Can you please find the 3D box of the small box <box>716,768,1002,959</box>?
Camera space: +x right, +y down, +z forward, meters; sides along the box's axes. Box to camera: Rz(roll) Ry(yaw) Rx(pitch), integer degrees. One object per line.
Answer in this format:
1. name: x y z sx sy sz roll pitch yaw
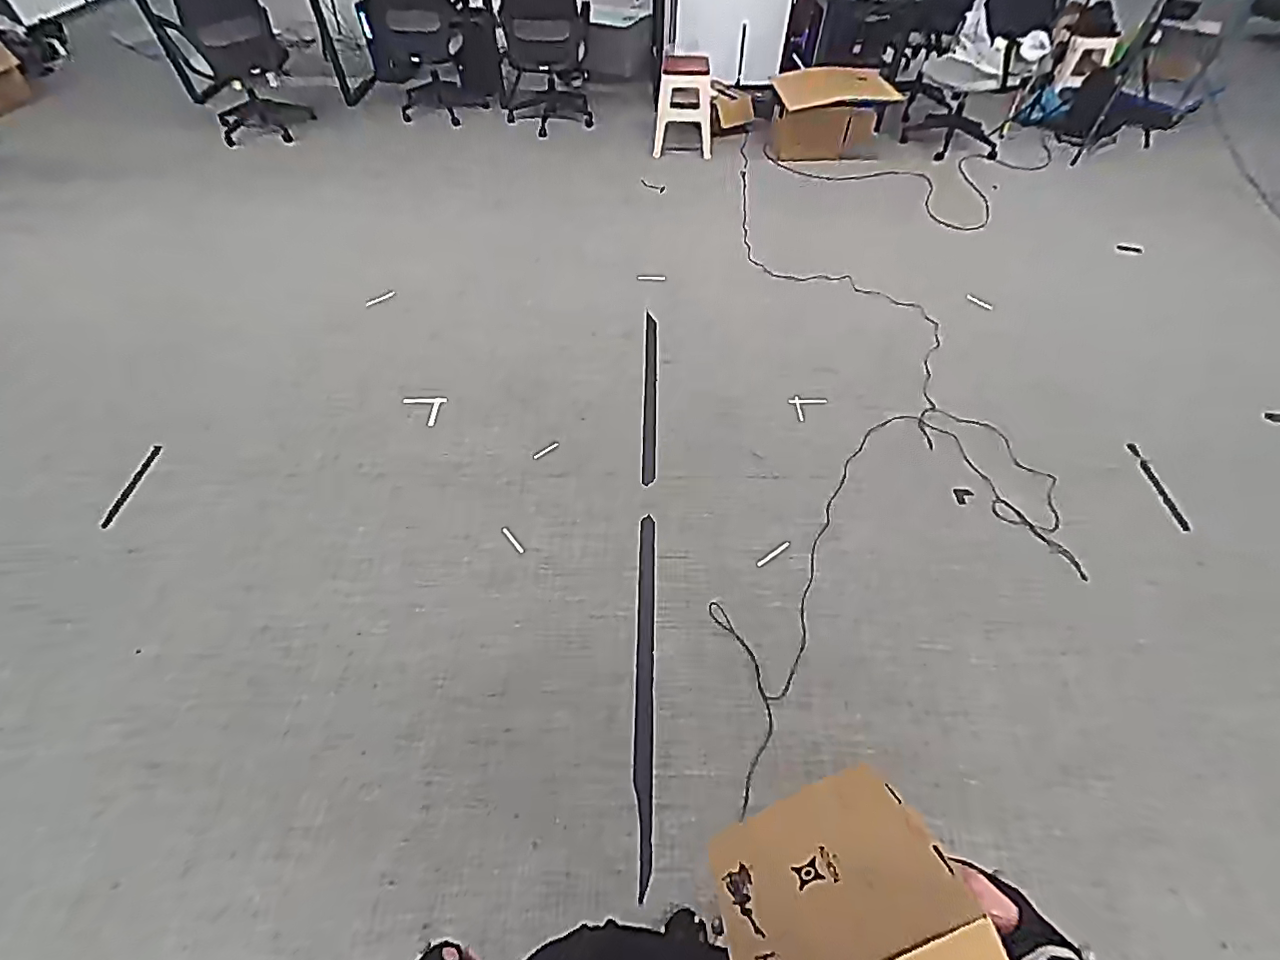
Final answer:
1. small box: 0.186 0.393 0.449 0.179 0.168 0.176 -25 94 0
